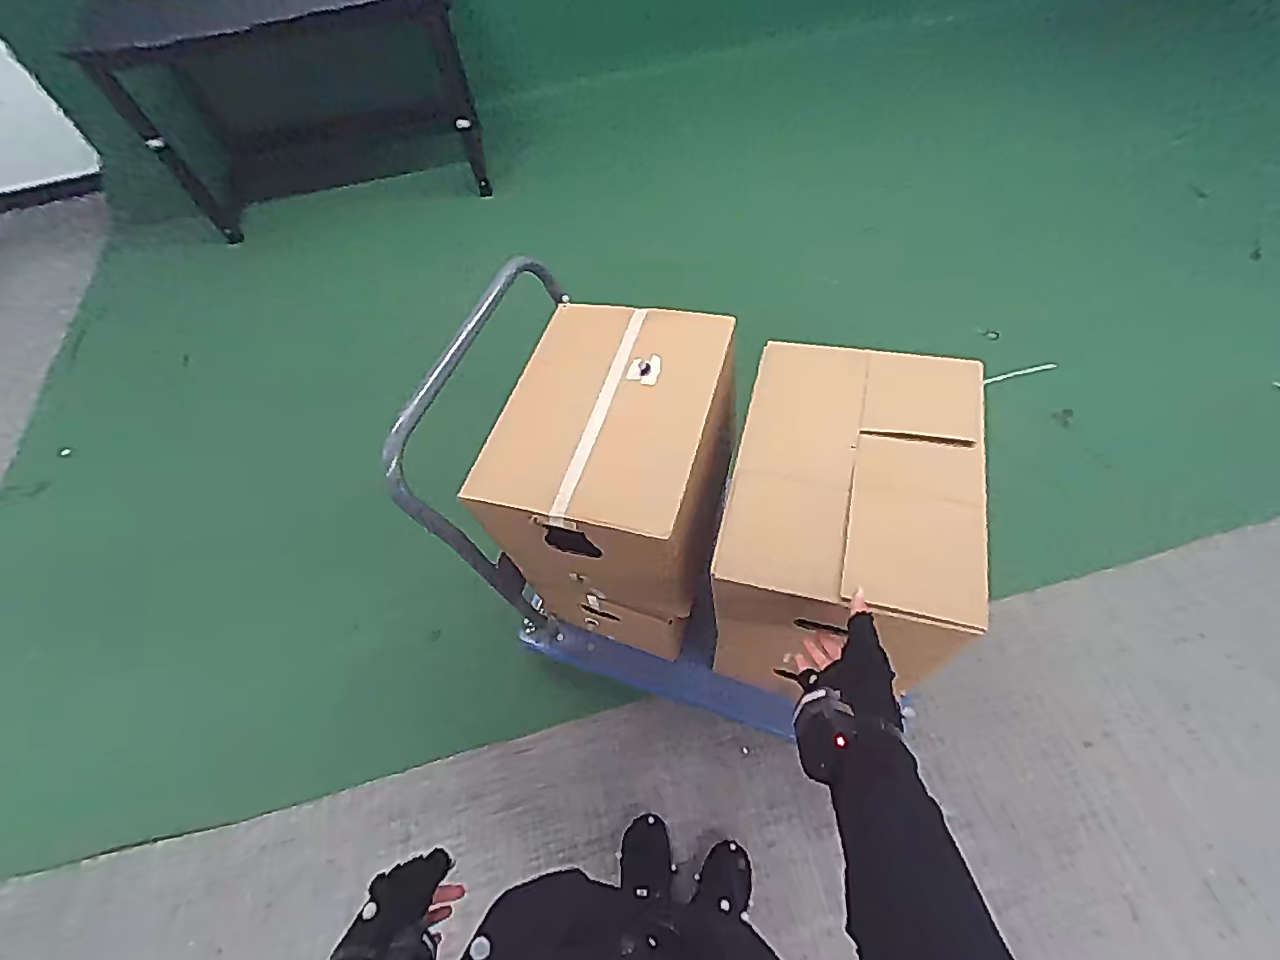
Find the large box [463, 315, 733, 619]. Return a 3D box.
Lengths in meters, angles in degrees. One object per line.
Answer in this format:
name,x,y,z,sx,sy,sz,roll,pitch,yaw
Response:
large box,-0.030,-0.024,0.936,0.320,0.320,0.408,10,59,16
